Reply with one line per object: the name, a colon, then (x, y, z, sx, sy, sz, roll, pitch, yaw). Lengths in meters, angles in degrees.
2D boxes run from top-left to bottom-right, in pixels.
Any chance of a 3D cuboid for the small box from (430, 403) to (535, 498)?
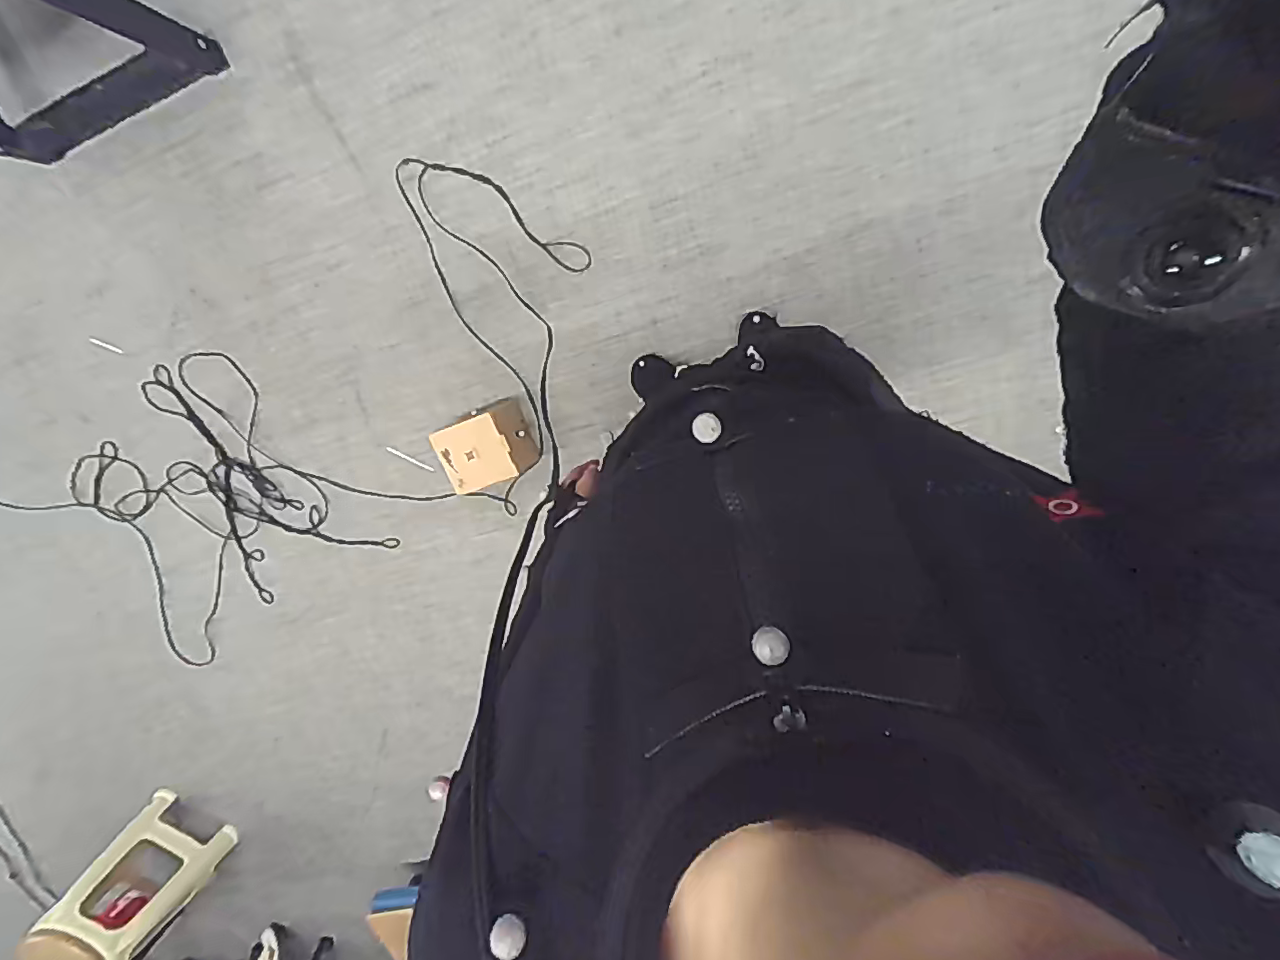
small box: (-0.378, -0.079, 1.348, 0.179, 0.176, 0.168, -18, 105, 13)
